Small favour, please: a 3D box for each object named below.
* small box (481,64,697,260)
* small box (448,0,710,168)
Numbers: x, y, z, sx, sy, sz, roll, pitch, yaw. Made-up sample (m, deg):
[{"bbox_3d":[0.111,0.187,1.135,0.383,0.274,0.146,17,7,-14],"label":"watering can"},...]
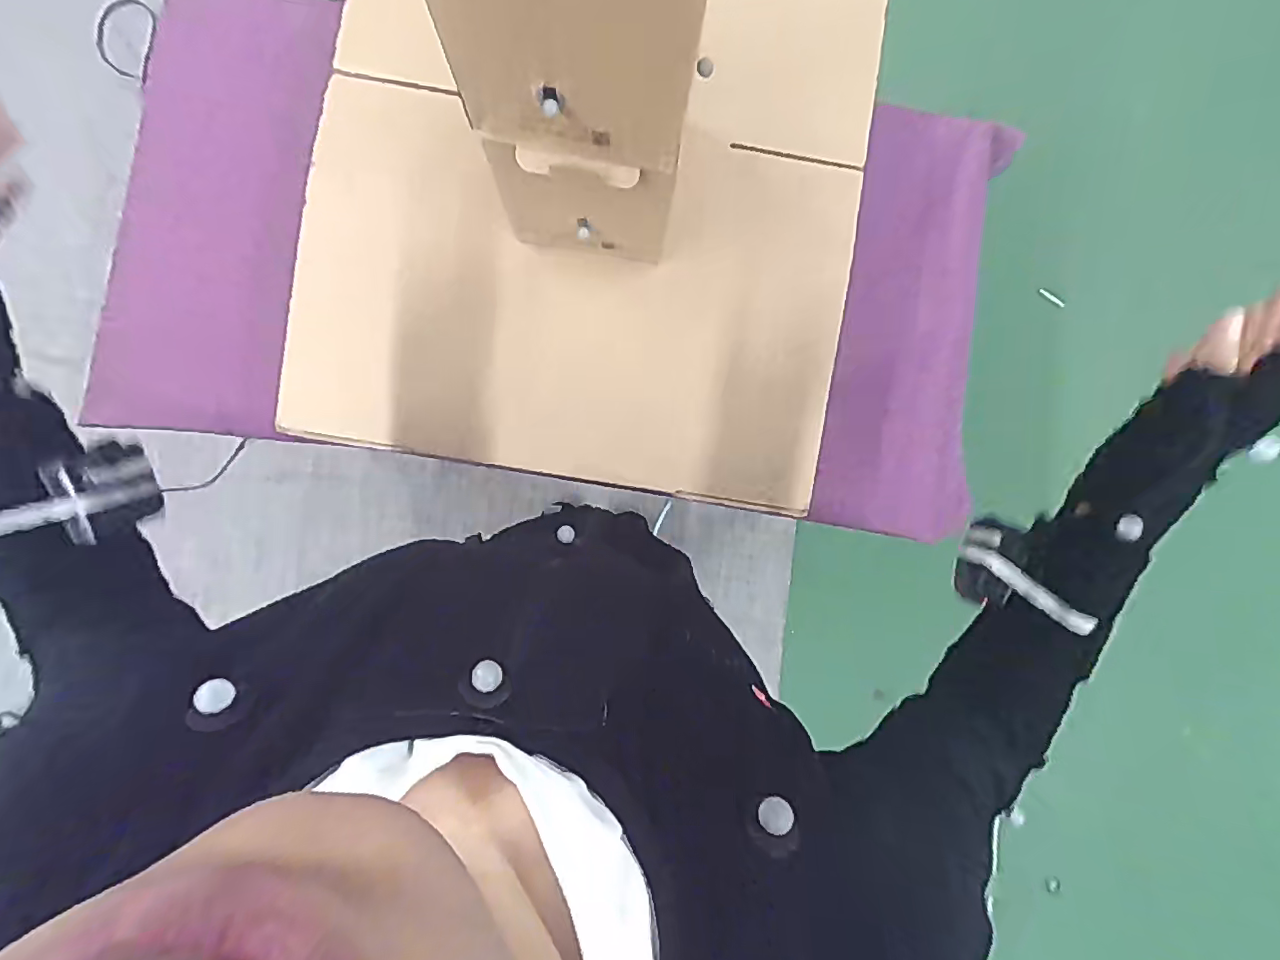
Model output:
[{"bbox_3d":[-0.039,-0.347,0.526,0.168,0.176,0.179,10,86,-2],"label":"small box"},{"bbox_3d":[-0.032,-0.357,0.364,0.168,0.176,0.179,9,86,-2],"label":"small box"}]
